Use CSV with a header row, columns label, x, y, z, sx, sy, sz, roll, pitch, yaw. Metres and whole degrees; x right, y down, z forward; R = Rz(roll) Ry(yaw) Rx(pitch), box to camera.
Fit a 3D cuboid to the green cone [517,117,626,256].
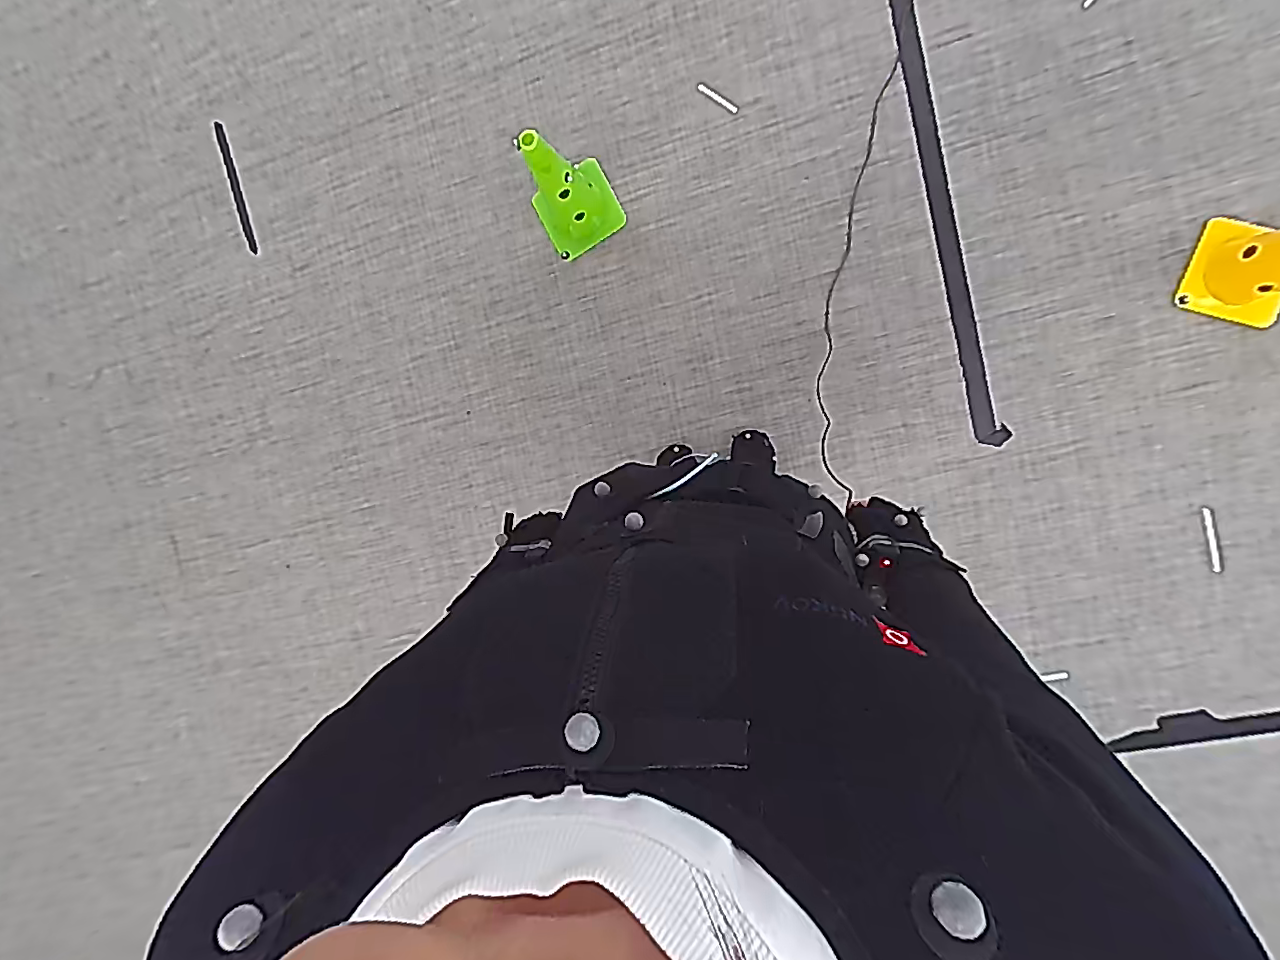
label,x,y,z,sx,sy,sz,roll,pitch,yaw
green cone,-0.188,-0.703,1.238,0.200,0.368,0.202,-29,88,11
